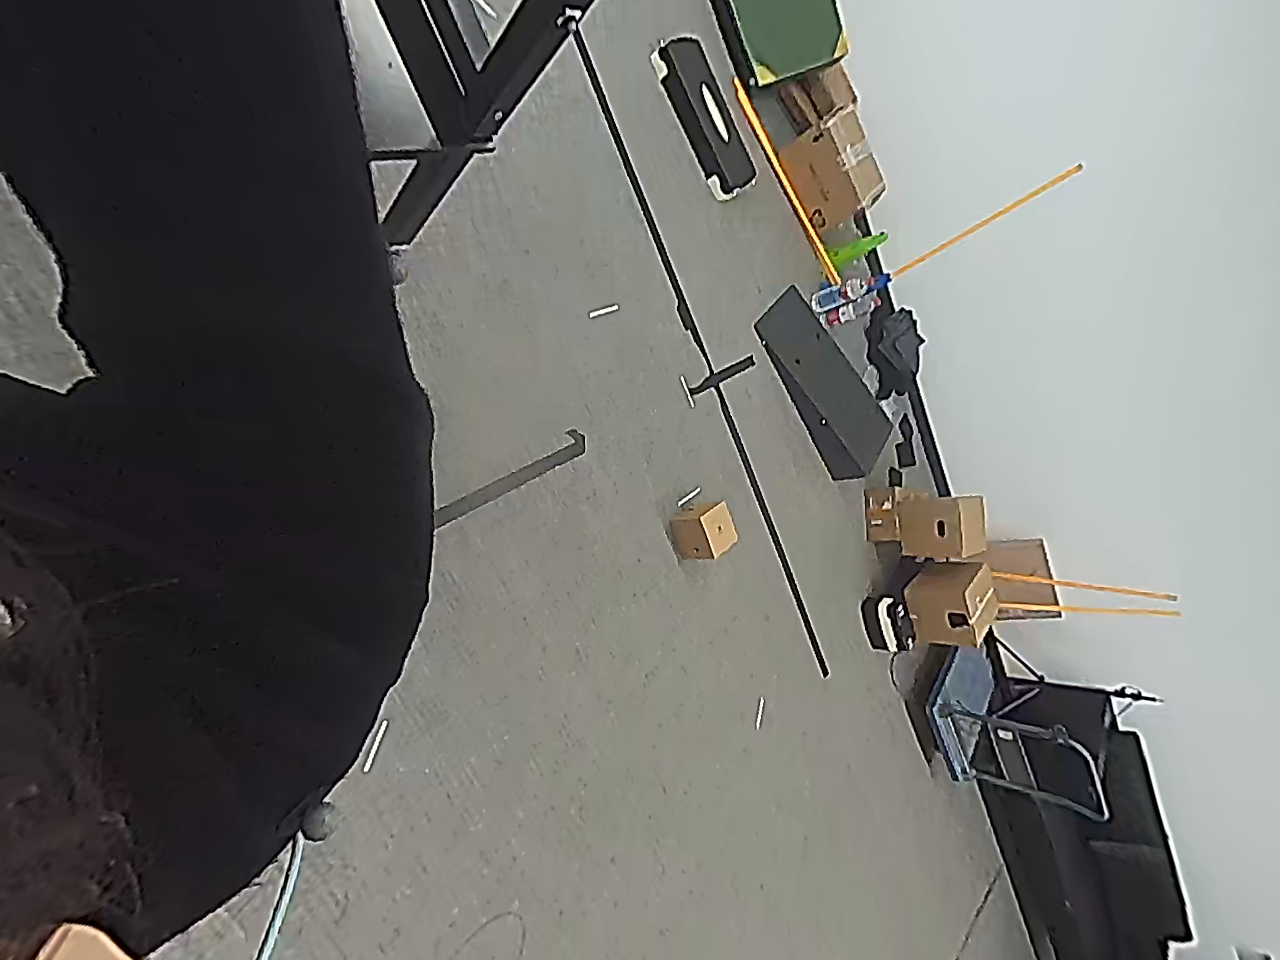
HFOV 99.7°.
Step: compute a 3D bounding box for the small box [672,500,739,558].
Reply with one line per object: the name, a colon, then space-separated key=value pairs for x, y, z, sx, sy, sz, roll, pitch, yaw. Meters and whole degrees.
small box: x=0.256 y=0.191 z=2.124 sx=0.168 sy=0.176 sz=0.179 roll=-30 pitch=103 yaw=-40
